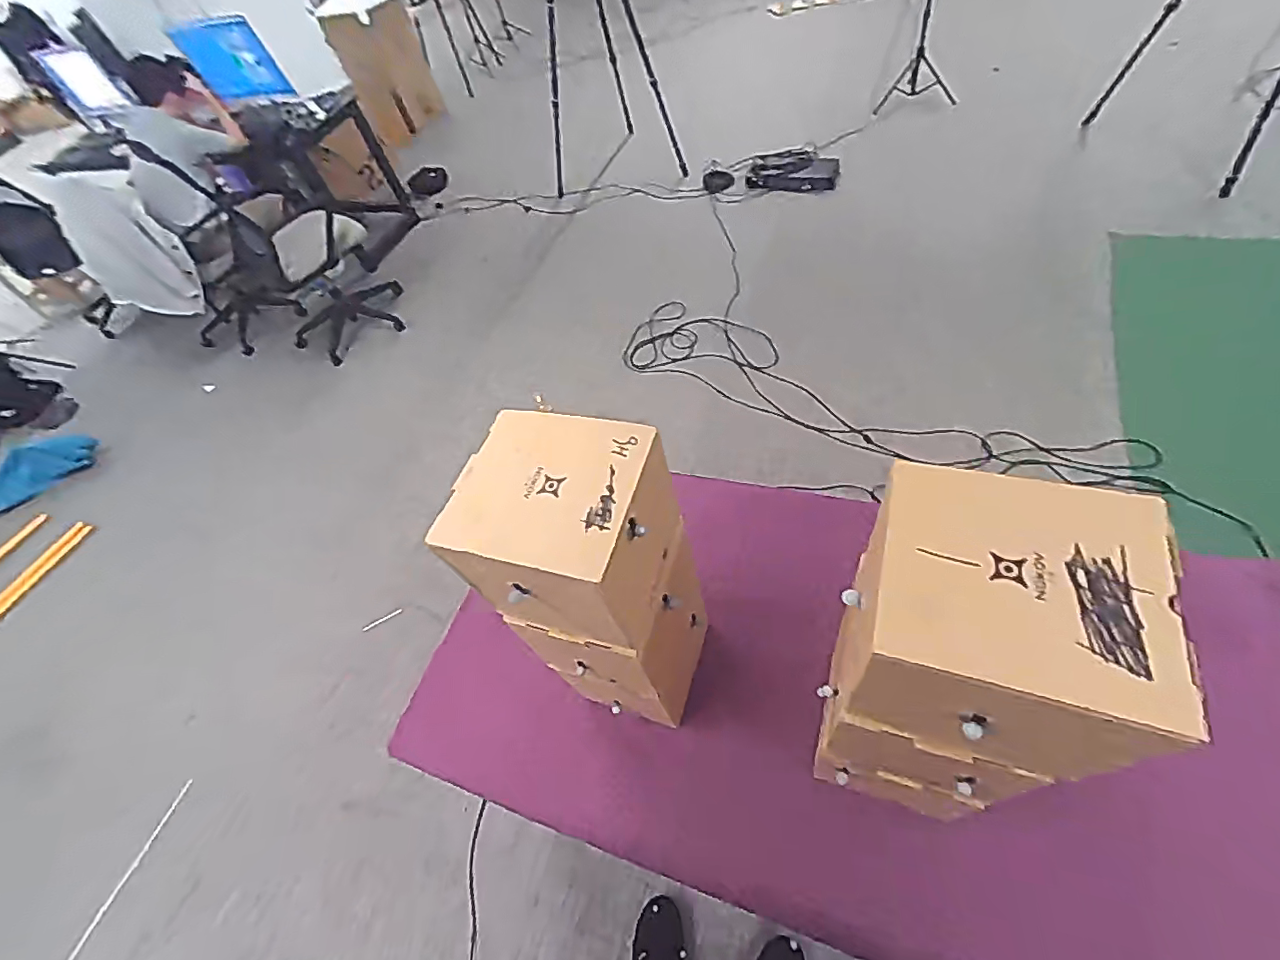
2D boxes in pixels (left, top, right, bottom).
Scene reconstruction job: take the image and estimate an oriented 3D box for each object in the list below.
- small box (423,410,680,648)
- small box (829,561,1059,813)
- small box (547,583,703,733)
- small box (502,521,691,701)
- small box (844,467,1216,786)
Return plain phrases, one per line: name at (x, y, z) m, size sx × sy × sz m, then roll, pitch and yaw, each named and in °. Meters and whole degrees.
small box at (-0.072, 0.052, 0.548) m, size 0.179 × 0.176 × 0.168 m, roll 9°, pitch 57°, yaw 20°
small box at (0.293, 0.213, 0.550) m, size 0.168 × 0.176 × 0.179 m, roll 11°, pitch 56°, yaw 20°
small box at (-0.009, 0.246, 0.802) m, size 0.168 × 0.176 × 0.179 m, roll 11°, pitch 57°, yaw 21°
small box at (-0.038, 0.149, 0.676) m, size 0.168 × 0.176 × 0.179 m, roll 10°, pitch 57°, yaw 19°
small box at (0.270, 0.117, 0.419) m, size 0.179 × 0.176 × 0.168 m, roll 11°, pitch 57°, yaw 21°
